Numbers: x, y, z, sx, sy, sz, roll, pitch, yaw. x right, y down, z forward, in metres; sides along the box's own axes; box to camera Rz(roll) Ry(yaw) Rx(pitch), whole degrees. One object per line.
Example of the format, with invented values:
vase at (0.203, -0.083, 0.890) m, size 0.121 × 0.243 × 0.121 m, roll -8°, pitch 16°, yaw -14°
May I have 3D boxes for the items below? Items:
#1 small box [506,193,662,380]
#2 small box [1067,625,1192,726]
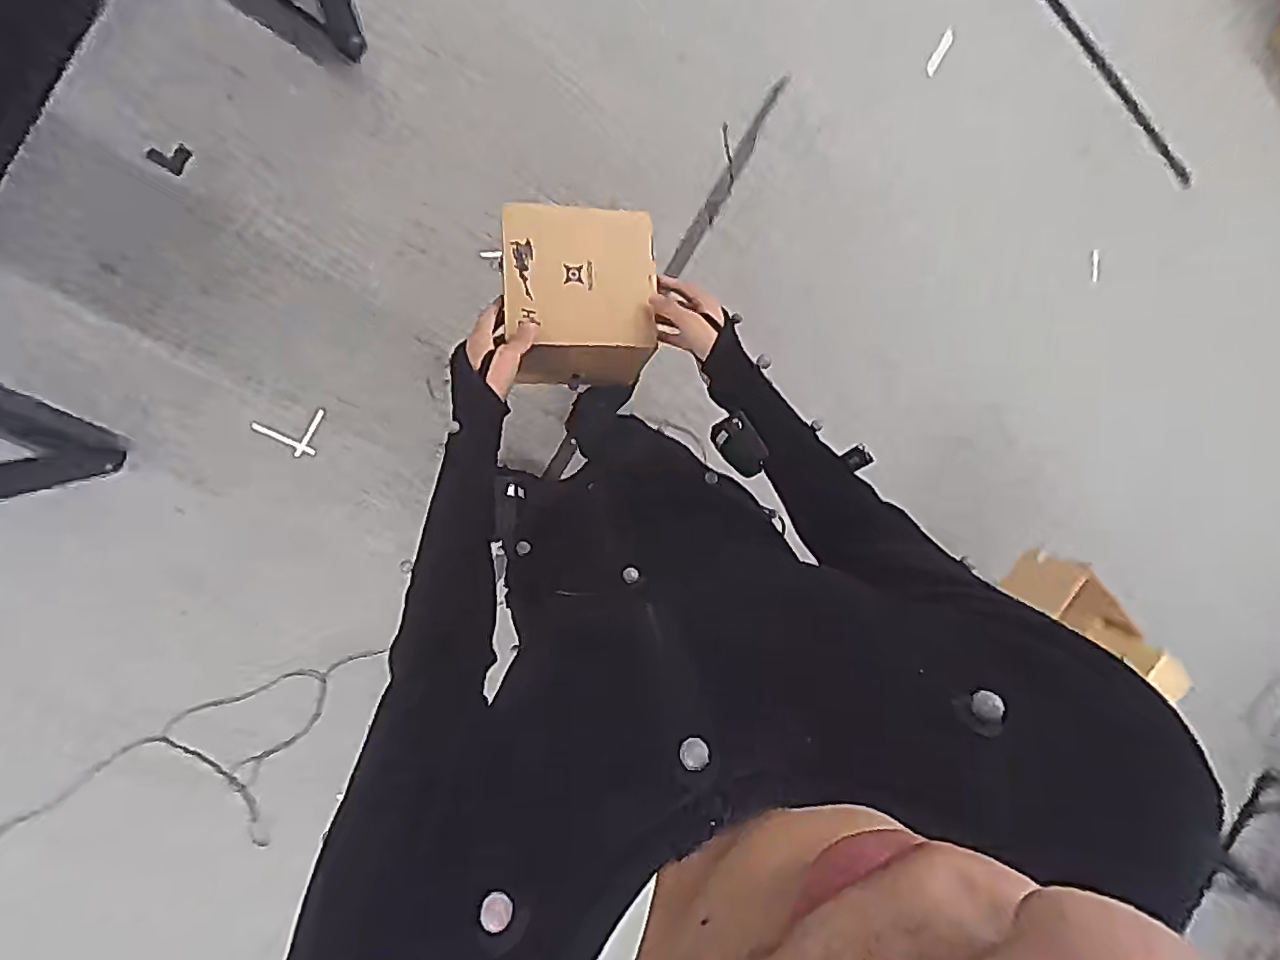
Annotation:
small box at (-0.079, -0.230, 0.690) m, size 0.179 × 0.176 × 0.168 m, roll 0°, pitch 85°, yaw -14°
small box at (1.317, 0.520, 1.465) m, size 0.179 × 0.176 × 0.168 m, roll 38°, pitch 89°, yaw -21°
